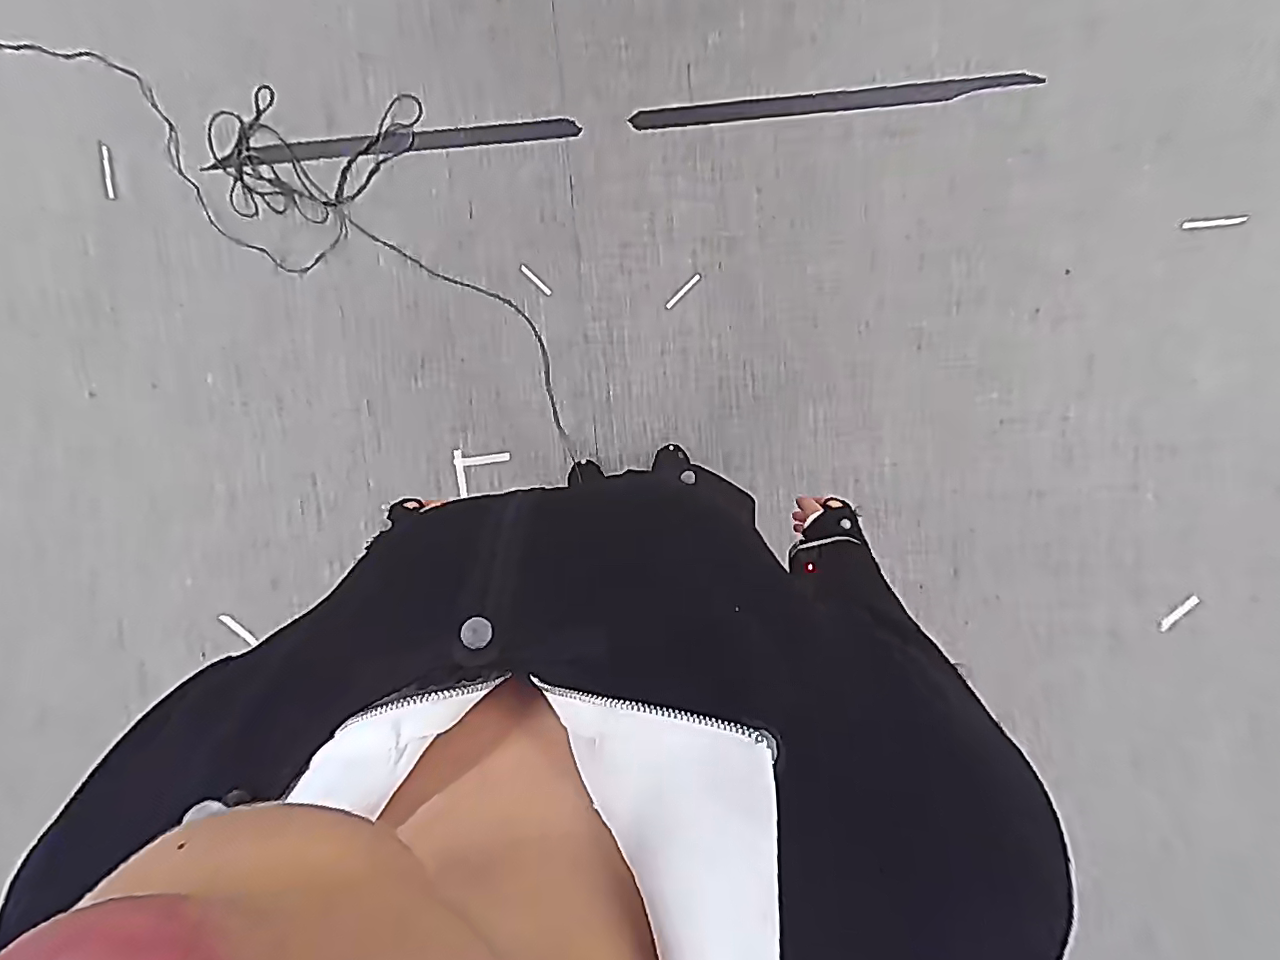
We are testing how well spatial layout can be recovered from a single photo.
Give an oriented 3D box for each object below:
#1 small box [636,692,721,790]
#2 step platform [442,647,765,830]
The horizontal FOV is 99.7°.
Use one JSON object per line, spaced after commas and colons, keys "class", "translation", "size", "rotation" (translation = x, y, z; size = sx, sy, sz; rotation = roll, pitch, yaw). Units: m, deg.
{"class": "small box", "translation": [0.088, 0.586, 1.263], "size": [0.179, 0.176, 0.168], "rotation": [-9, 94, 2]}
{"class": "step platform", "translation": [-0.075, 0.572, 1.231], "size": [0.684, 0.204, 0.286], "rotation": [-6, 95, 3]}
